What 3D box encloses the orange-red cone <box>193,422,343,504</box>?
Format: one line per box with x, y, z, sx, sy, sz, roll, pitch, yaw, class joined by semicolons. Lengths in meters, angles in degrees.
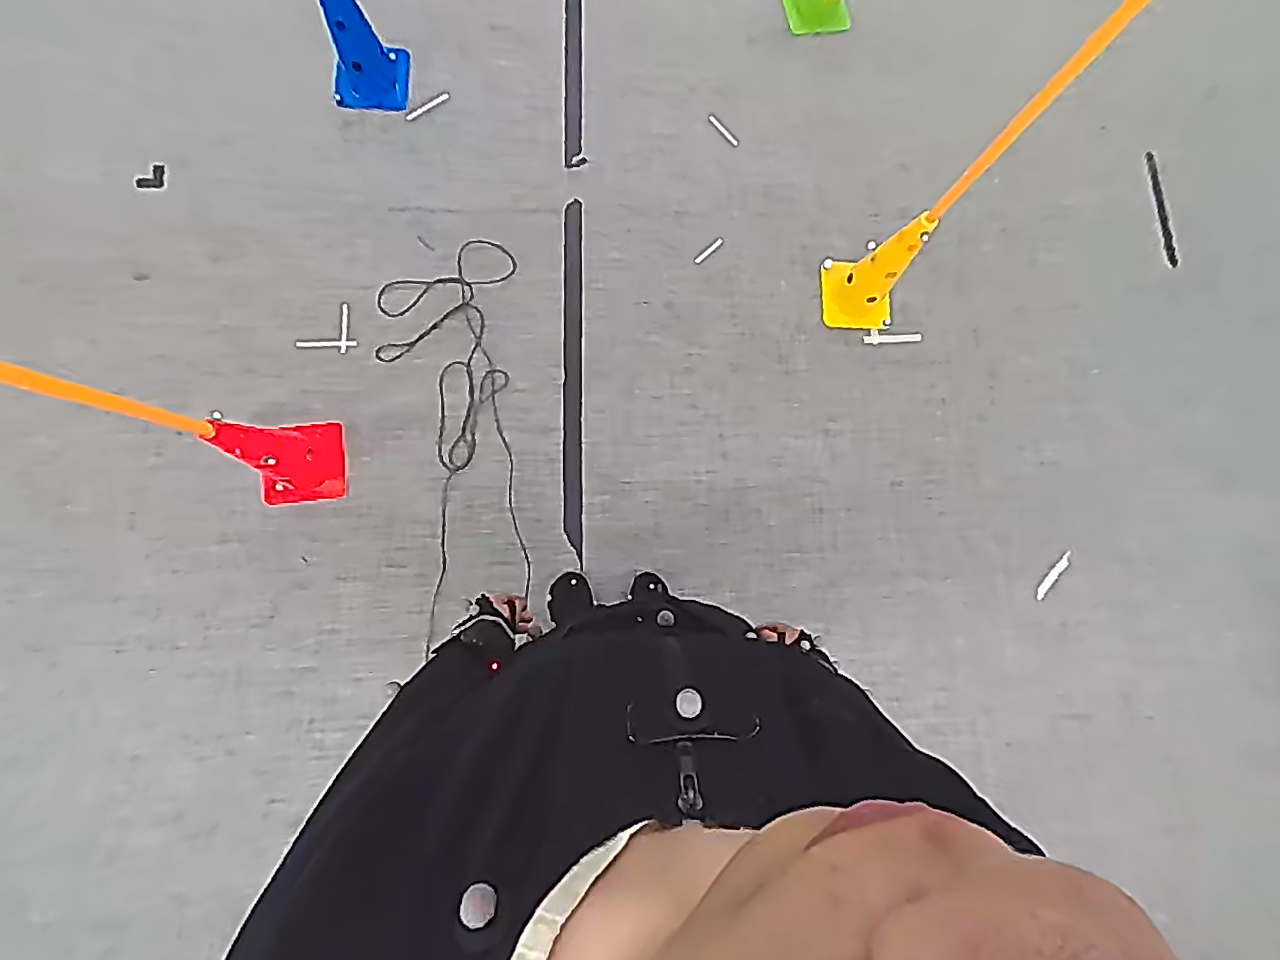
-0.832;-0.067;1.183;0.199;0.360;0.198;-6;82;-7;orange-red cone

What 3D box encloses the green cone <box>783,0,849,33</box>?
0.559;-1.521;1.526;0.200;0.368;0.202;-12;84;-6;green cone

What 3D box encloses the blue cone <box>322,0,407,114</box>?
-0.748;-1.158;1.376;0.193;0.380;0.192;2;82;-4;blue cone
